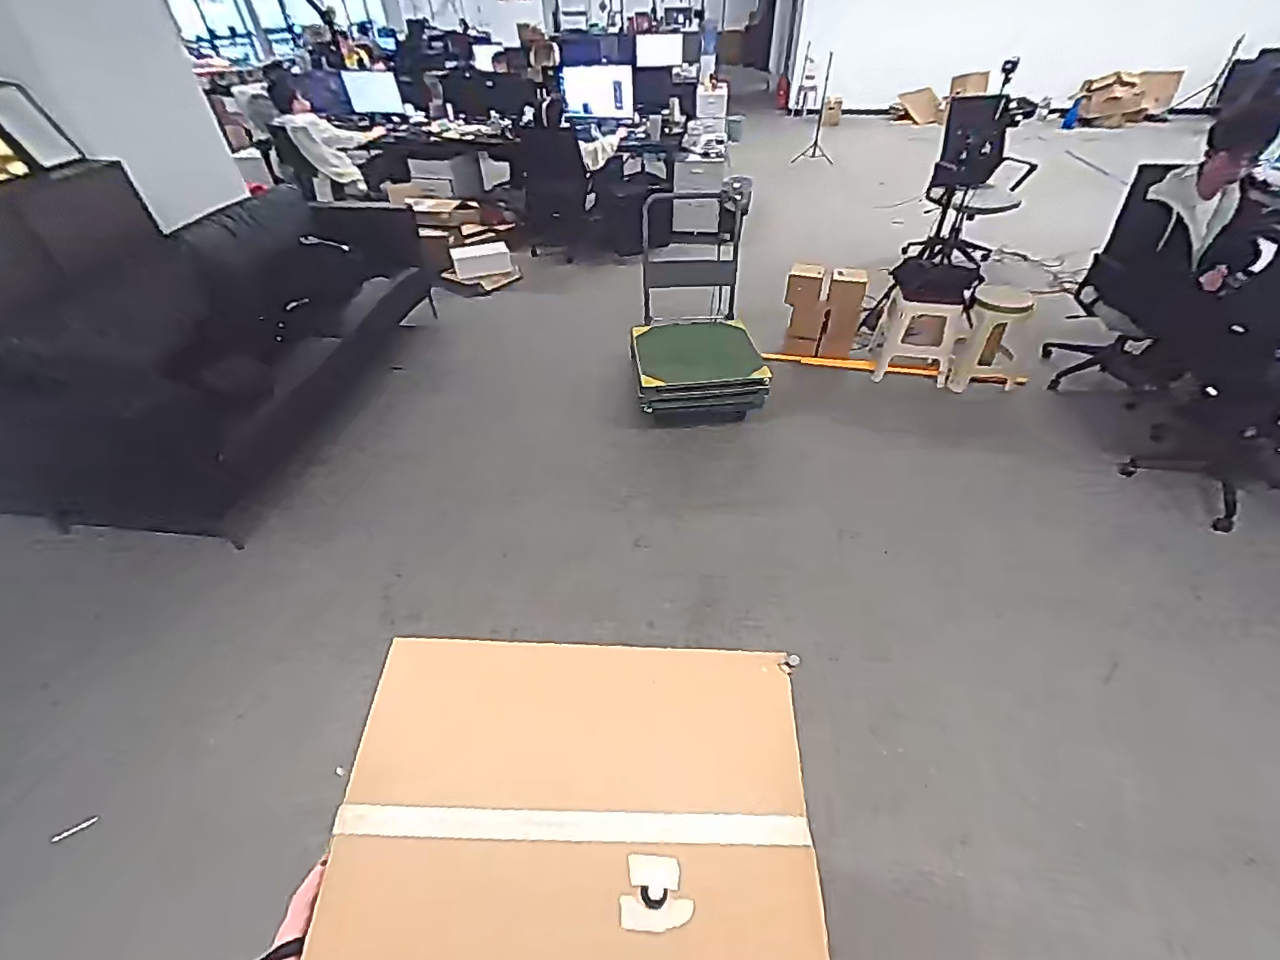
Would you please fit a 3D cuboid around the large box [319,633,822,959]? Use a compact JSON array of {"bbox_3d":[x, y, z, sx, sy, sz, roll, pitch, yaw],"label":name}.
[{"bbox_3d":[-0.059,0.379,0.606,0.408,0.320,0.320,3,56,-2],"label":"large box"}]
